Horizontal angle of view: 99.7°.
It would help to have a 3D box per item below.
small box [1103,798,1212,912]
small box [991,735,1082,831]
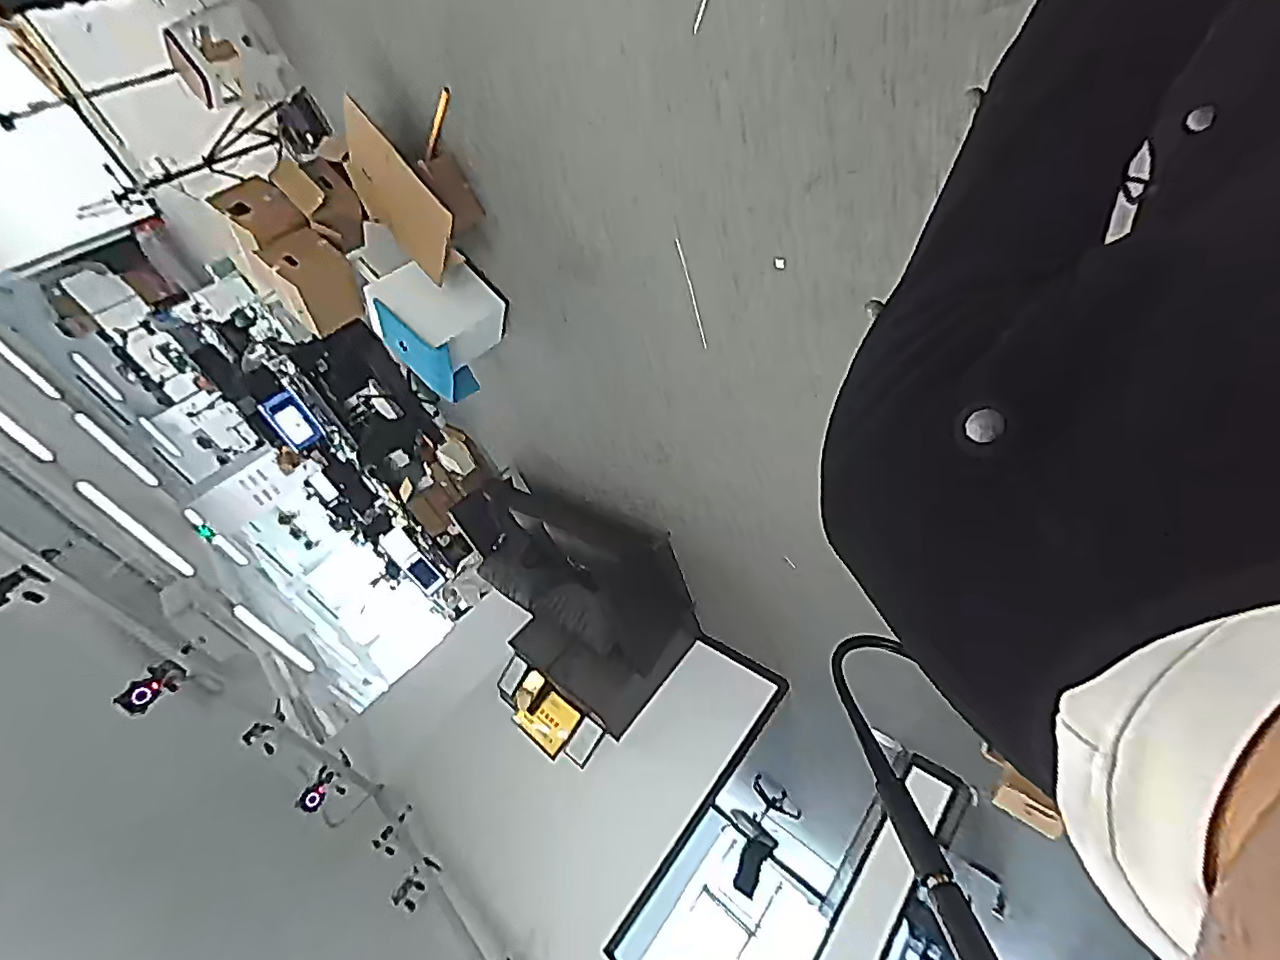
[{"bbox_3d":[1.404,1.009,1.466,0.168,0.176,0.179,23,144,39],"label":"small box"},{"bbox_3d":[1.197,0.910,1.633,0.168,0.176,0.179,25,147,35],"label":"small box"}]
